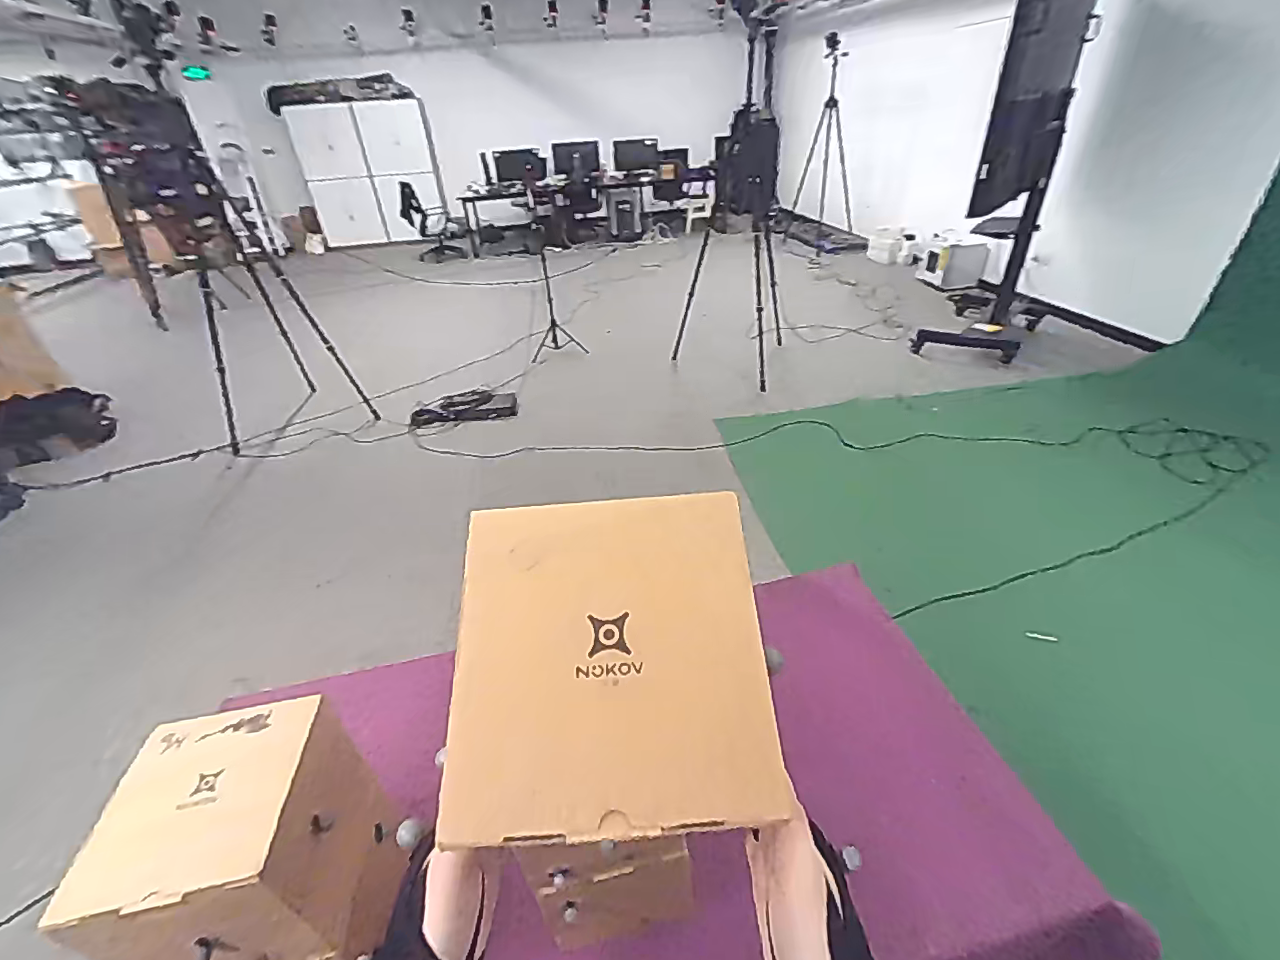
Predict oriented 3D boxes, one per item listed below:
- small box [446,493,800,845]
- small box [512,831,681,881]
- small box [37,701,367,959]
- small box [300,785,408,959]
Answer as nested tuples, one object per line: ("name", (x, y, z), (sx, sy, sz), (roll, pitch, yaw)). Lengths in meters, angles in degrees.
("small box", (-0.010, 0.128, 0.357), (0.168, 0.176, 0.179), (-5, 60, 0))
("small box", (-0.055, 0.297, 0.588), (0.168, 0.176, 0.179), (-10, 32, -8))
("small box", (-0.394, 0.358, 0.535), (0.168, 0.176, 0.179), (-9, 34, -8))
("small box", (-0.382, 0.496, 0.623), (0.168, 0.176, 0.179), (-10, 34, -7))
